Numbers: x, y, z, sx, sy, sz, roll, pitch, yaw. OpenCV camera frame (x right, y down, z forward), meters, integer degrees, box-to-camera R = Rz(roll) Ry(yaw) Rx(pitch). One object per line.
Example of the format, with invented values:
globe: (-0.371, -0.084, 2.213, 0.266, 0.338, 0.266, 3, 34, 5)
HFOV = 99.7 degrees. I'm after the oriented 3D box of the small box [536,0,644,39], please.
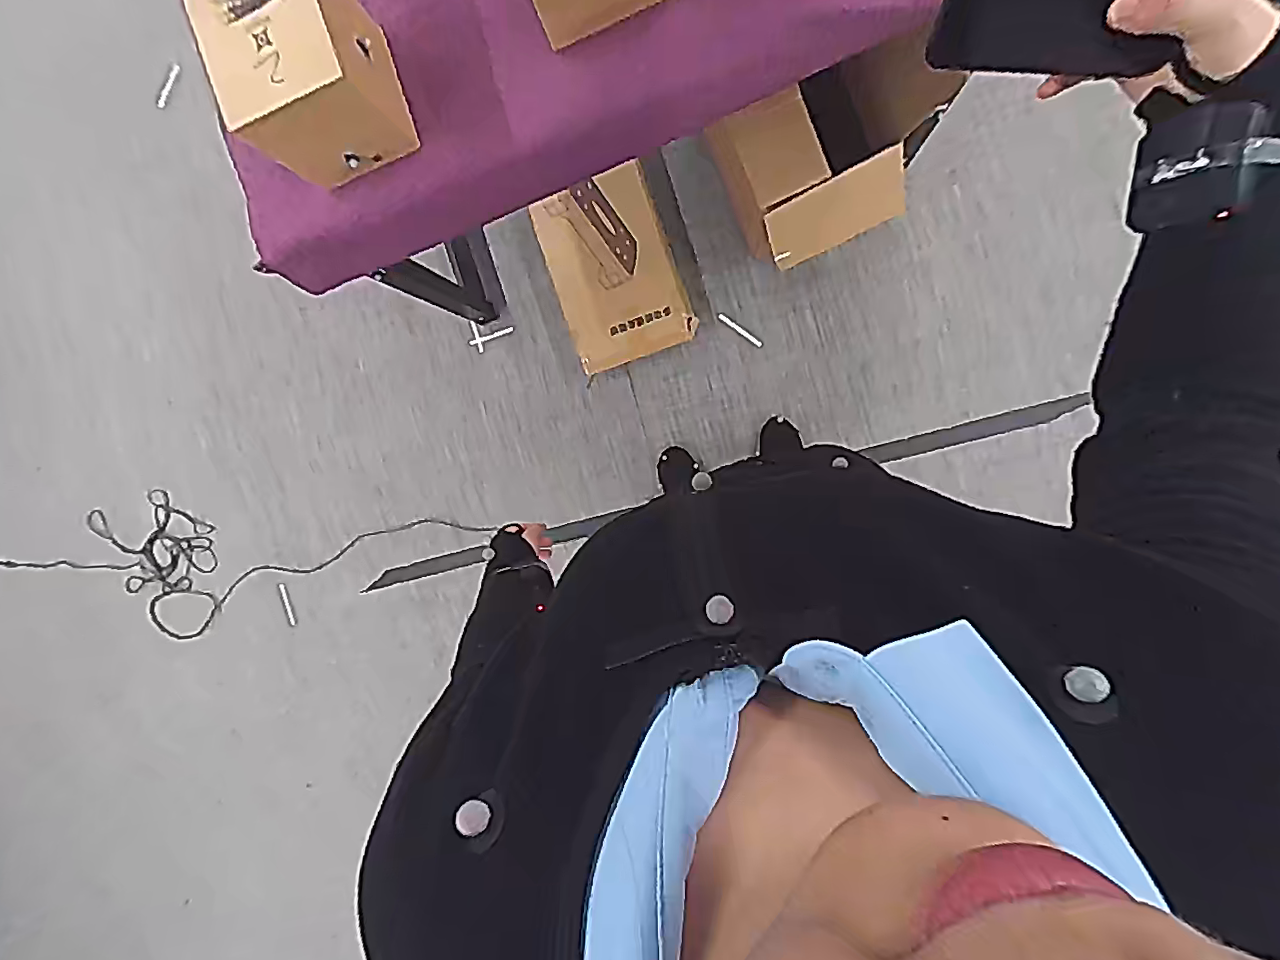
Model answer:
small box: (-0.070, -0.684, 0.633, 0.179, 0.176, 0.168, -18, 90, 10)
